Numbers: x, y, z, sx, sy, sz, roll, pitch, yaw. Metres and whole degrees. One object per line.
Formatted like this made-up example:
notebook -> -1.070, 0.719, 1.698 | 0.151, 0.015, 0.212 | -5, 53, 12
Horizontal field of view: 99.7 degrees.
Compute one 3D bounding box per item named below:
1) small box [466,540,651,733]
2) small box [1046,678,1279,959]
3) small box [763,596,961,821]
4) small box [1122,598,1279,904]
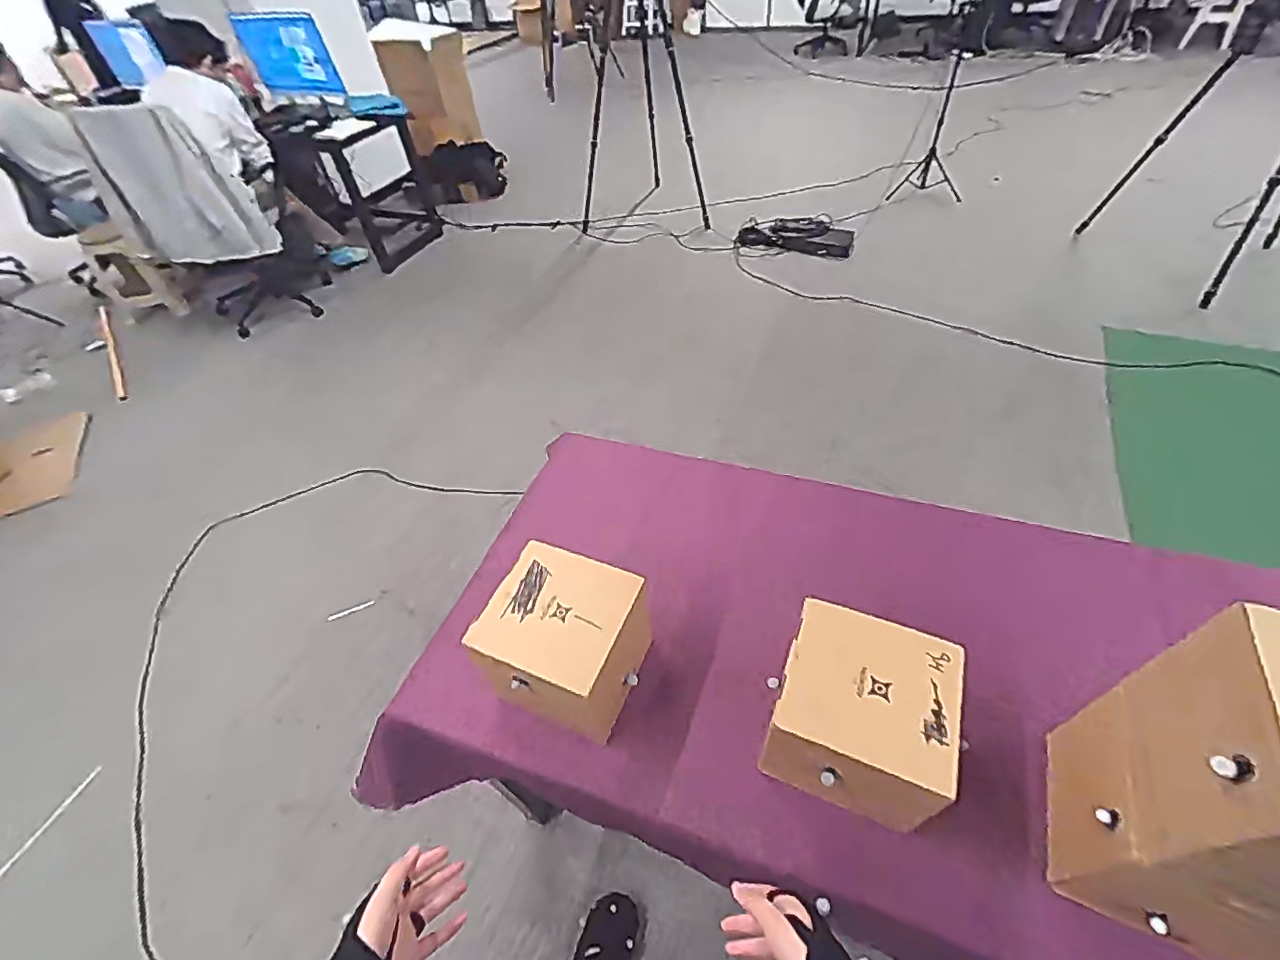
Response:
small box -> -0.097, 0.213, 0.732 | 0.179, 0.176, 0.168 | 16, 51, 19
small box -> 0.542, 0.341, 0.548 | 0.168, 0.176, 0.179 | 16, 52, 20
small box -> 0.253, 0.272, 0.642 | 0.179, 0.176, 0.168 | 15, 51, 20
small box -> 0.530, 0.230, 0.426 | 0.168, 0.176, 0.179 | 16, 51, 19
